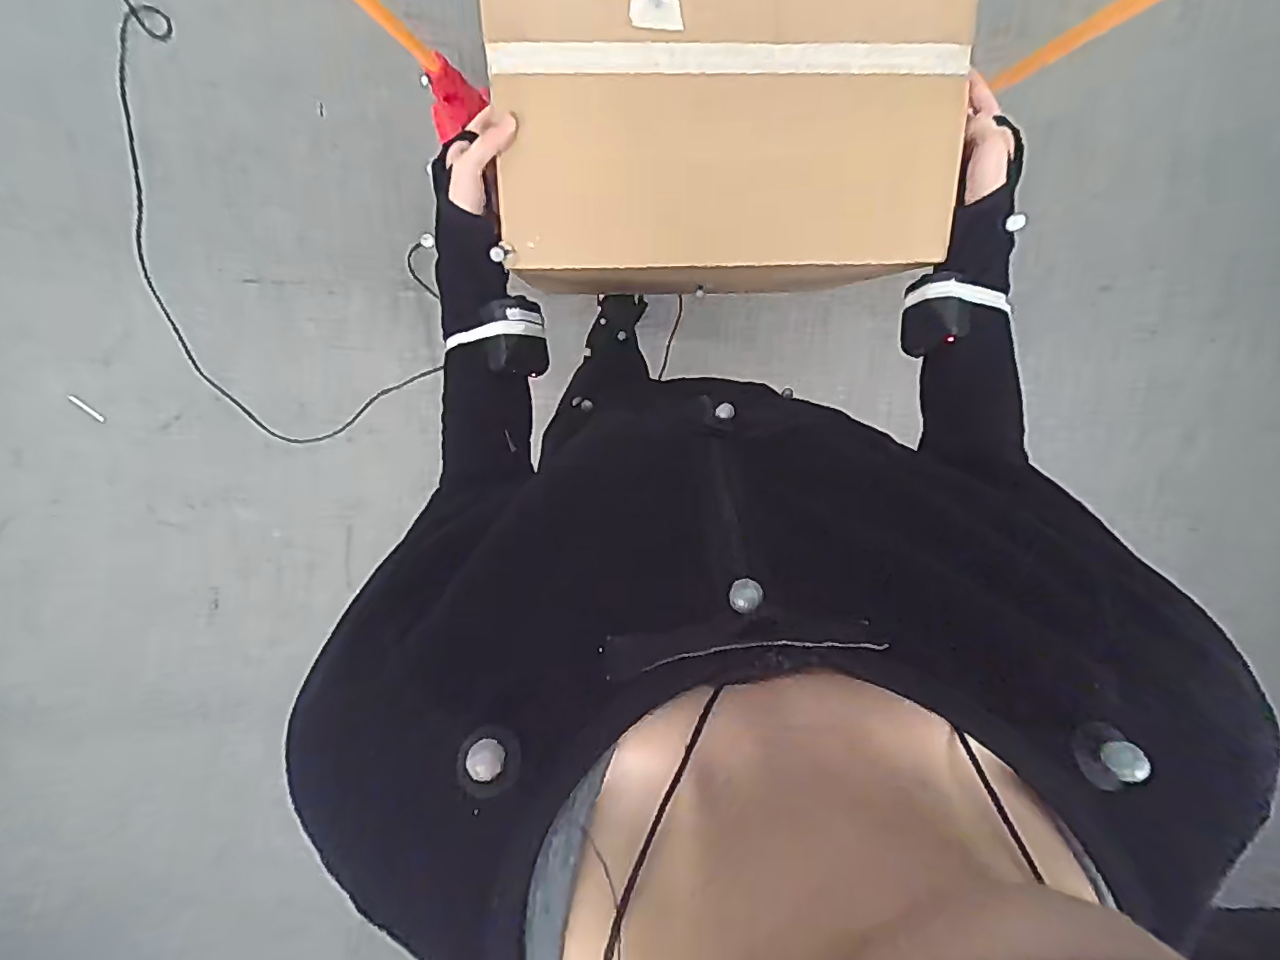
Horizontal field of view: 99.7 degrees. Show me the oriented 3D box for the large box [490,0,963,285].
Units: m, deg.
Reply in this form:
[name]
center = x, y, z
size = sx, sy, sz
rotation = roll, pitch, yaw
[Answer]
[large box]
center = 0.070, -0.396, 0.604
size = 0.408, 0.320, 0.320
rotation = -2, 104, -2
